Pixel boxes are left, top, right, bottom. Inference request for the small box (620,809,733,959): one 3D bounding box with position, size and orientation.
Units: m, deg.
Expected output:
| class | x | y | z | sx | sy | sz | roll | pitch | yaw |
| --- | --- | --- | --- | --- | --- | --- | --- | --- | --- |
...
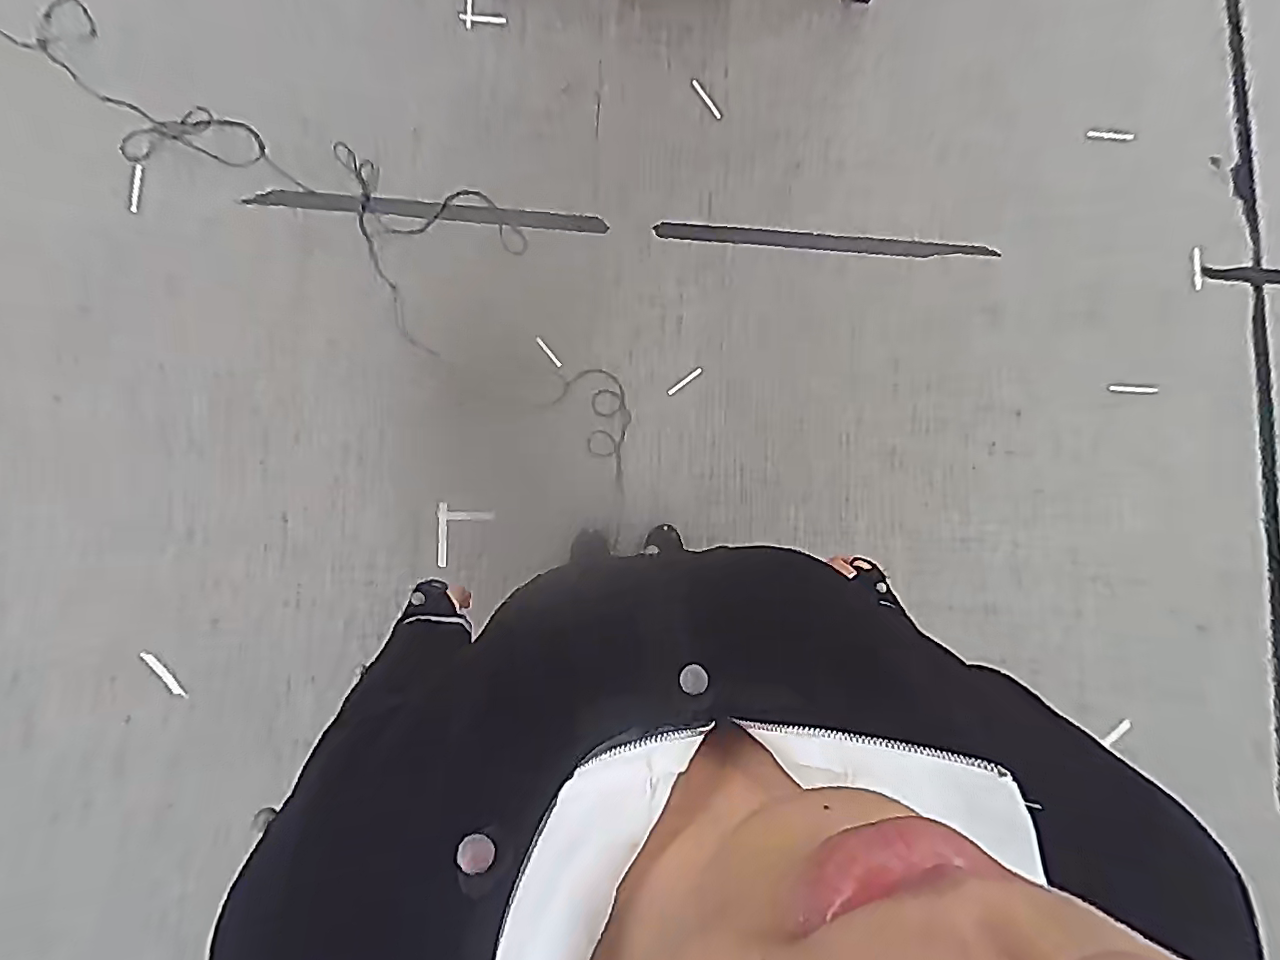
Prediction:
| class | x | y | z | sx | sy | sz | roll | pitch | yaw |
| --- | --- | --- | --- | --- | --- | --- | --- | --- | --- |
| small box | 0.054 | 0.685 | 0.907 | 0.168 | 0.176 | 0.179 | 3 | 82 | -5 |
